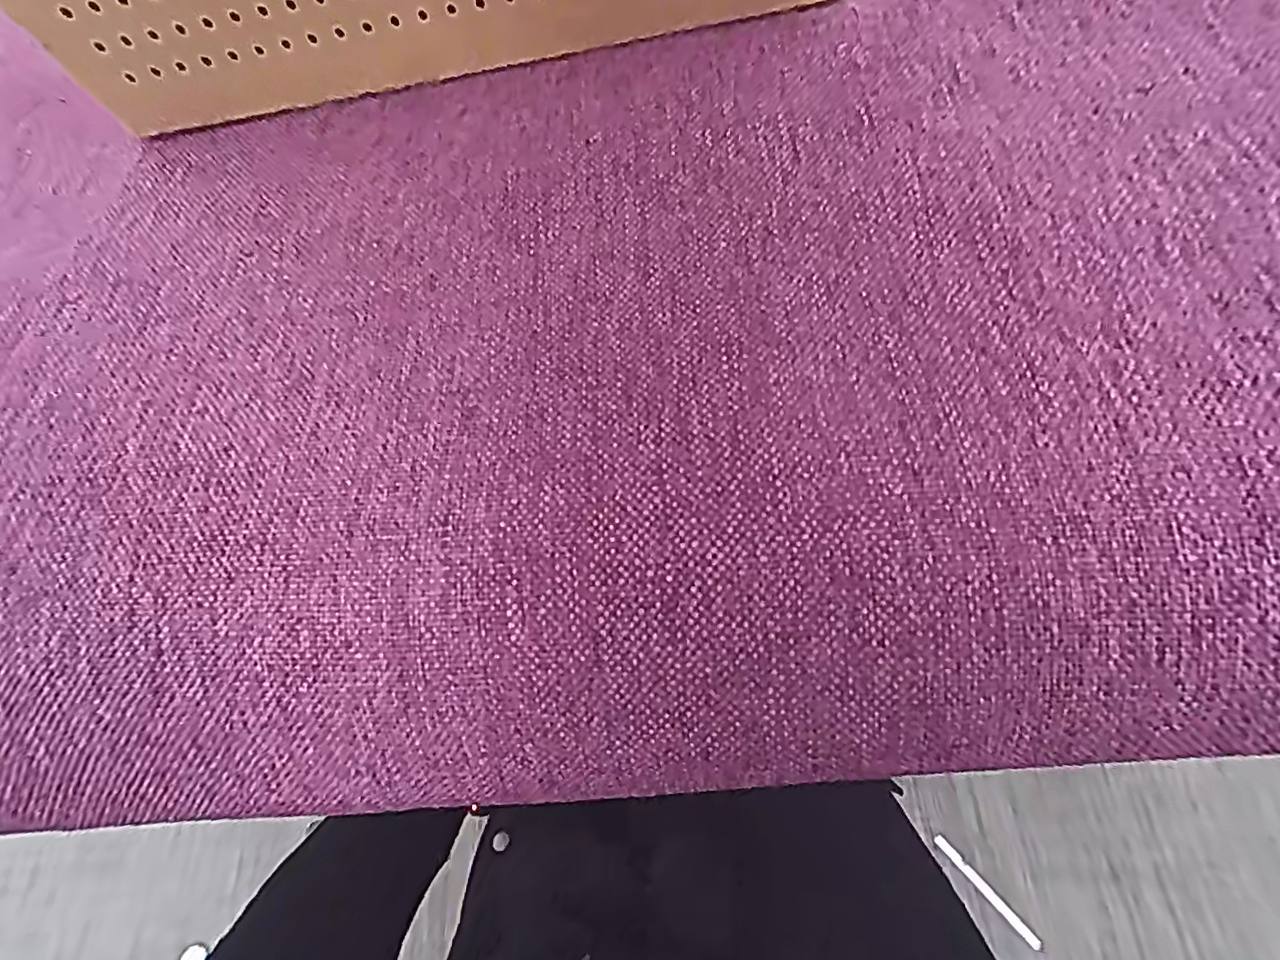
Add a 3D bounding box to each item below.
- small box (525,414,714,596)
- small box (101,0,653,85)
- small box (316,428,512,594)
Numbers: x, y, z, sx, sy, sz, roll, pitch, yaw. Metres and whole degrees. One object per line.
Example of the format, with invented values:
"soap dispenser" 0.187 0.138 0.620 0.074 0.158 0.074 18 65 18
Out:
"small box" -0.015 0.038 0.613 0.179 0.176 0.168 -9 80 3
"small box" -0.050 -0.208 0.084 0.179 0.176 0.168 -6 68 6
"small box" -0.270 0.049 0.689 0.179 0.176 0.168 -7 71 5
